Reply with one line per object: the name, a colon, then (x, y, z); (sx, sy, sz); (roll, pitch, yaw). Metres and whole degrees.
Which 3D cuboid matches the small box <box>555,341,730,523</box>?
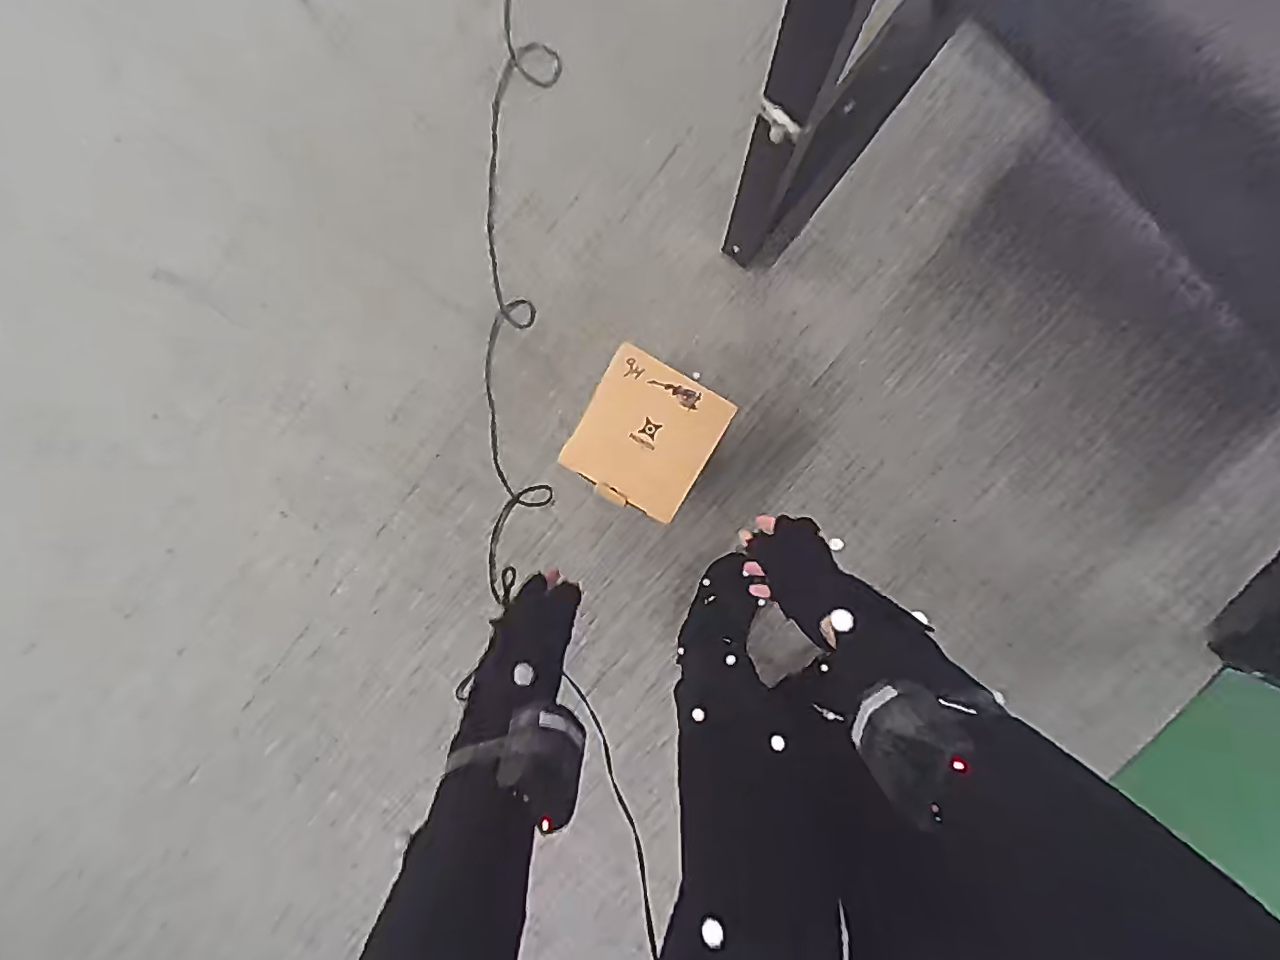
small box: (0.009, -0.064, 0.751); (0.168, 0.176, 0.179); (28, 96, 2)
